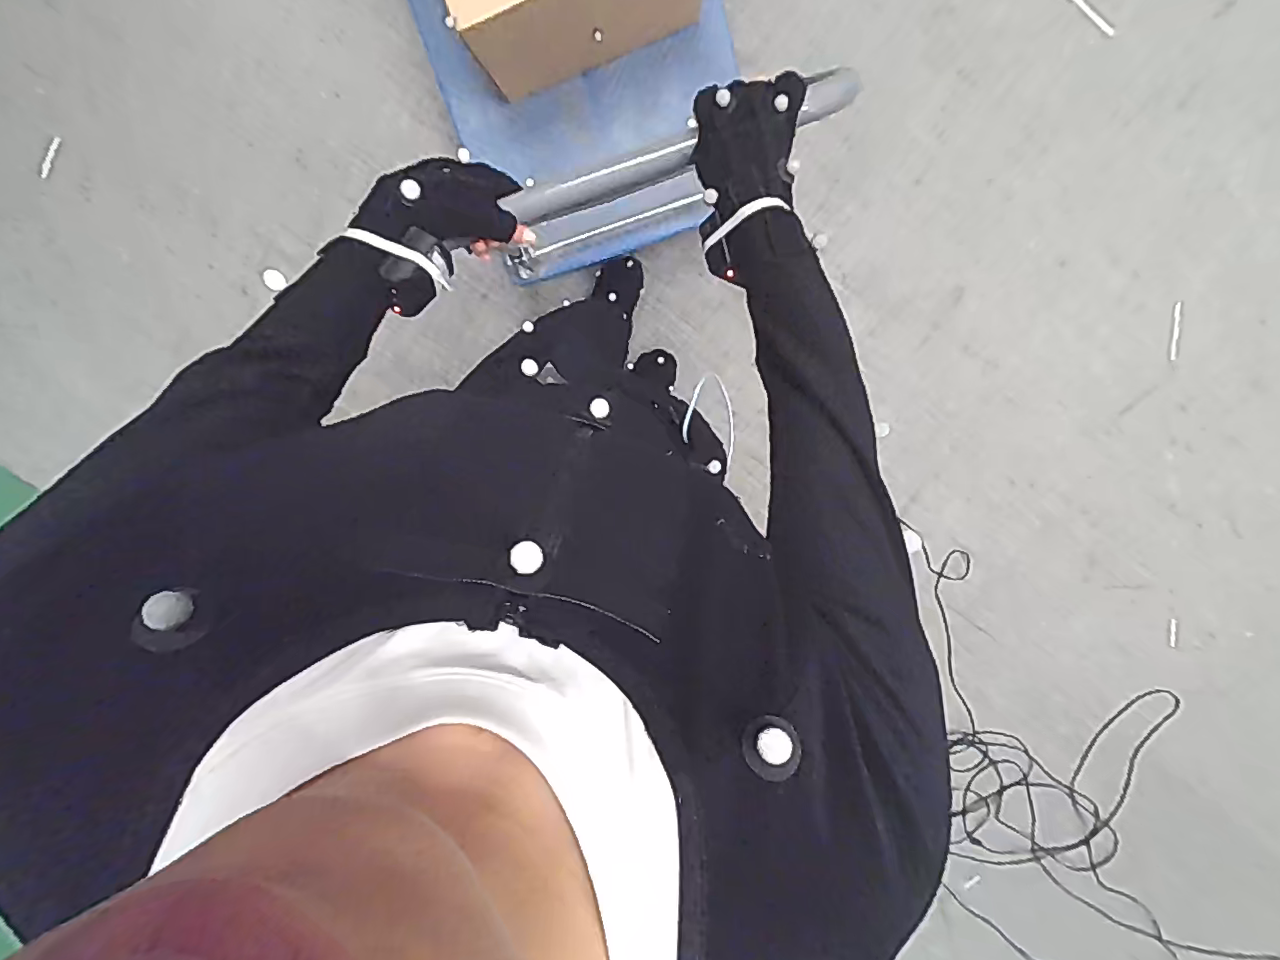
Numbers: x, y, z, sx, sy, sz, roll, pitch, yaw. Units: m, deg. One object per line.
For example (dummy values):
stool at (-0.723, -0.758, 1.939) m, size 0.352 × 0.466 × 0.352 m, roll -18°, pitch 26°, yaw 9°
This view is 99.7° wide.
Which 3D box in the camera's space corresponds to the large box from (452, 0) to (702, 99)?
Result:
large box at (-0.126, -0.922, 0.887) m, size 0.408 × 0.320 × 0.320 m, roll -19°, pitch 106°, yaw 9°
